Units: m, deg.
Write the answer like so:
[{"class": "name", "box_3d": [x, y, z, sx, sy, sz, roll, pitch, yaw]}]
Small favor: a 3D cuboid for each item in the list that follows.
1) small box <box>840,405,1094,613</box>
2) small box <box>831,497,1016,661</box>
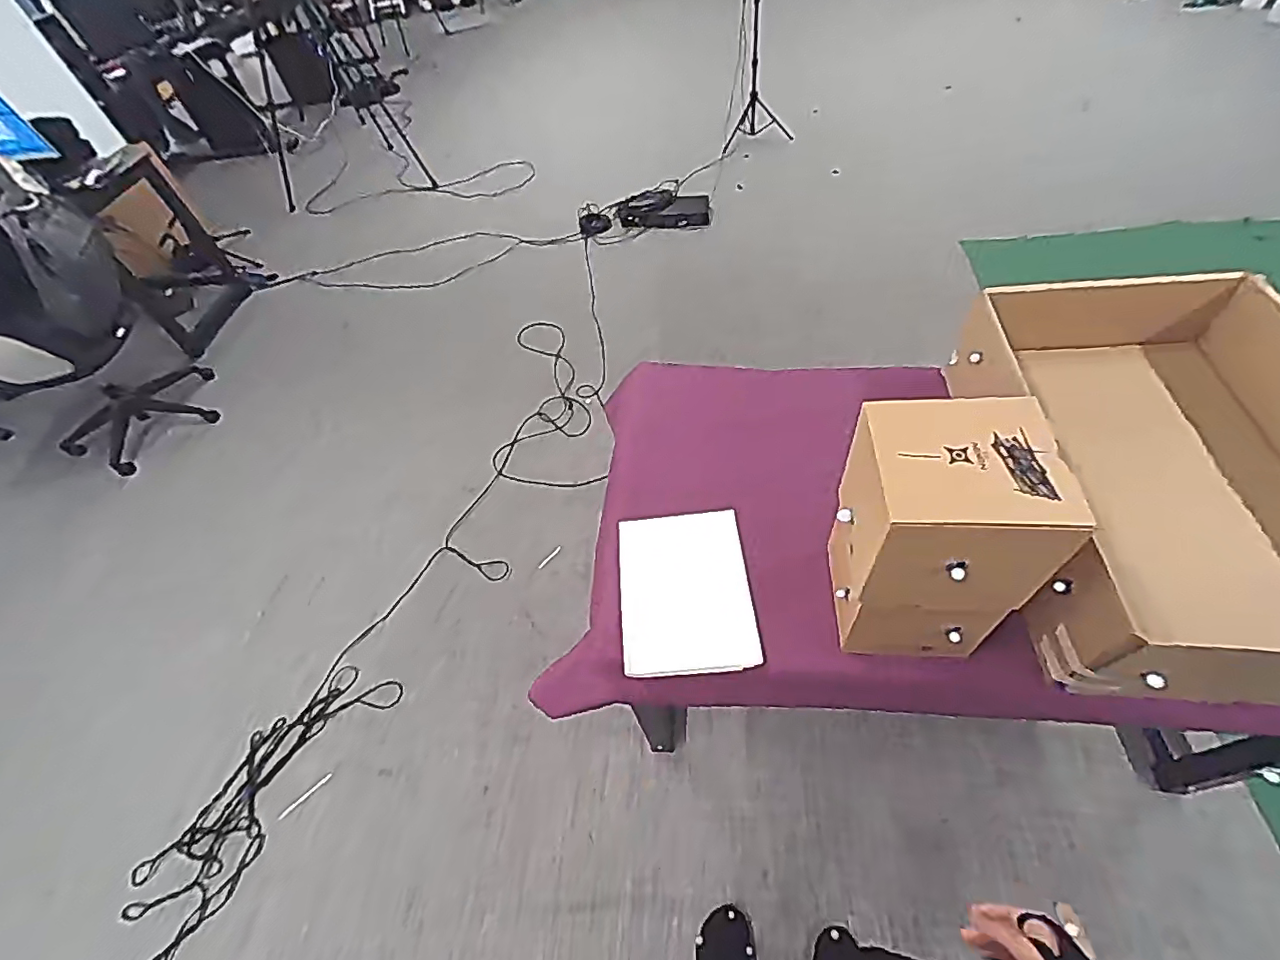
[{"class": "small box", "box_3d": [0.333, 0.035, 0.596, 0.179, 0.176, 0.168, 0, 51, 10]}, {"class": "small box", "box_3d": [0.361, 0.129, 0.728, 0.168, 0.176, 0.179, 1, 51, 9]}]
